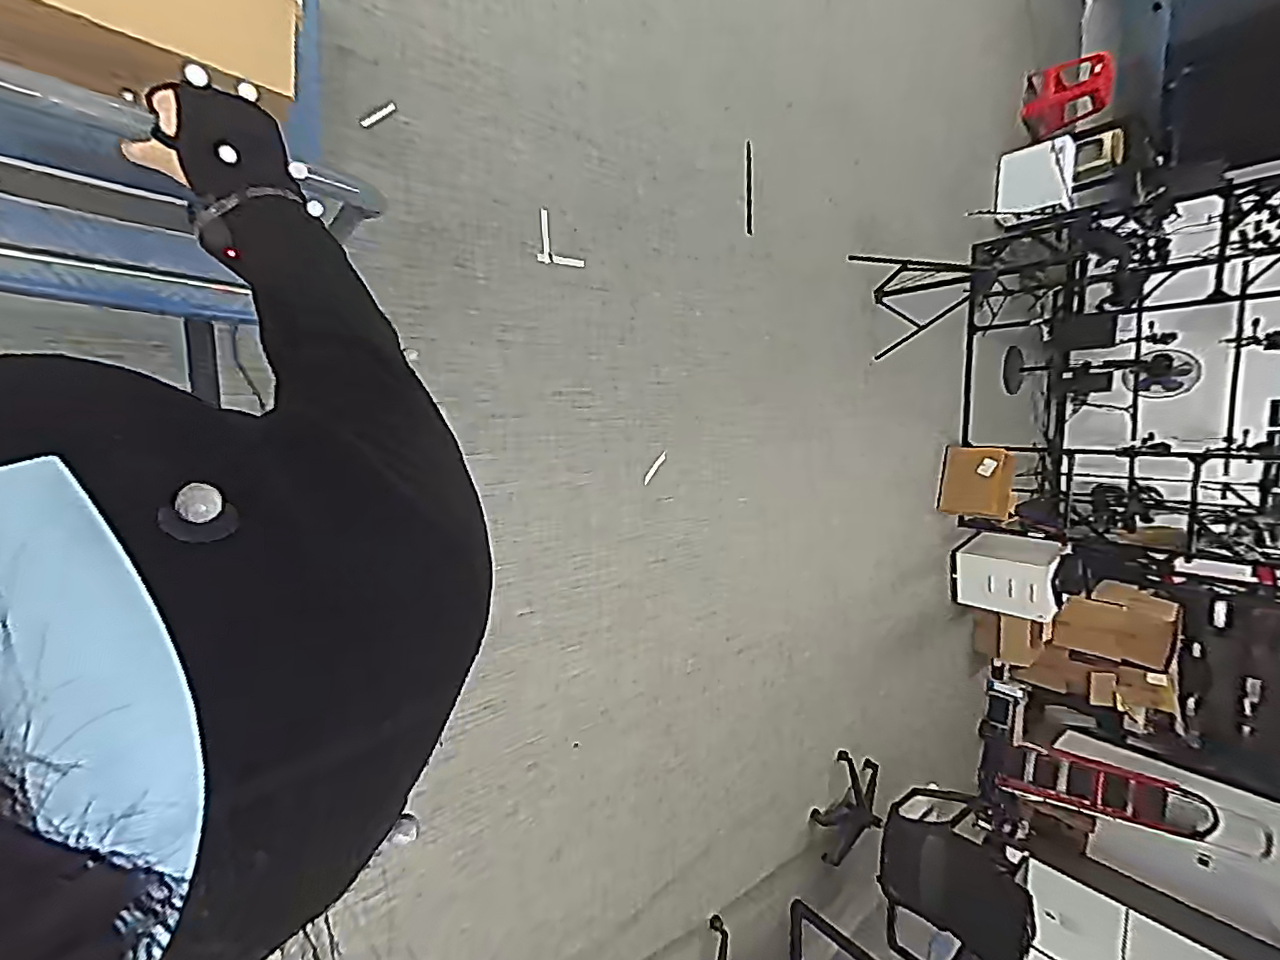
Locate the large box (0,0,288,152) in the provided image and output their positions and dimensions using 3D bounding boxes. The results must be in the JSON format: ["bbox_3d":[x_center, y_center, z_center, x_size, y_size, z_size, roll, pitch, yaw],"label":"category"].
[{"bbox_3d":[-0.798,-0.782,0.832,0.408,0.320,0.320,-1,94,-39],"label":"large box"}]
